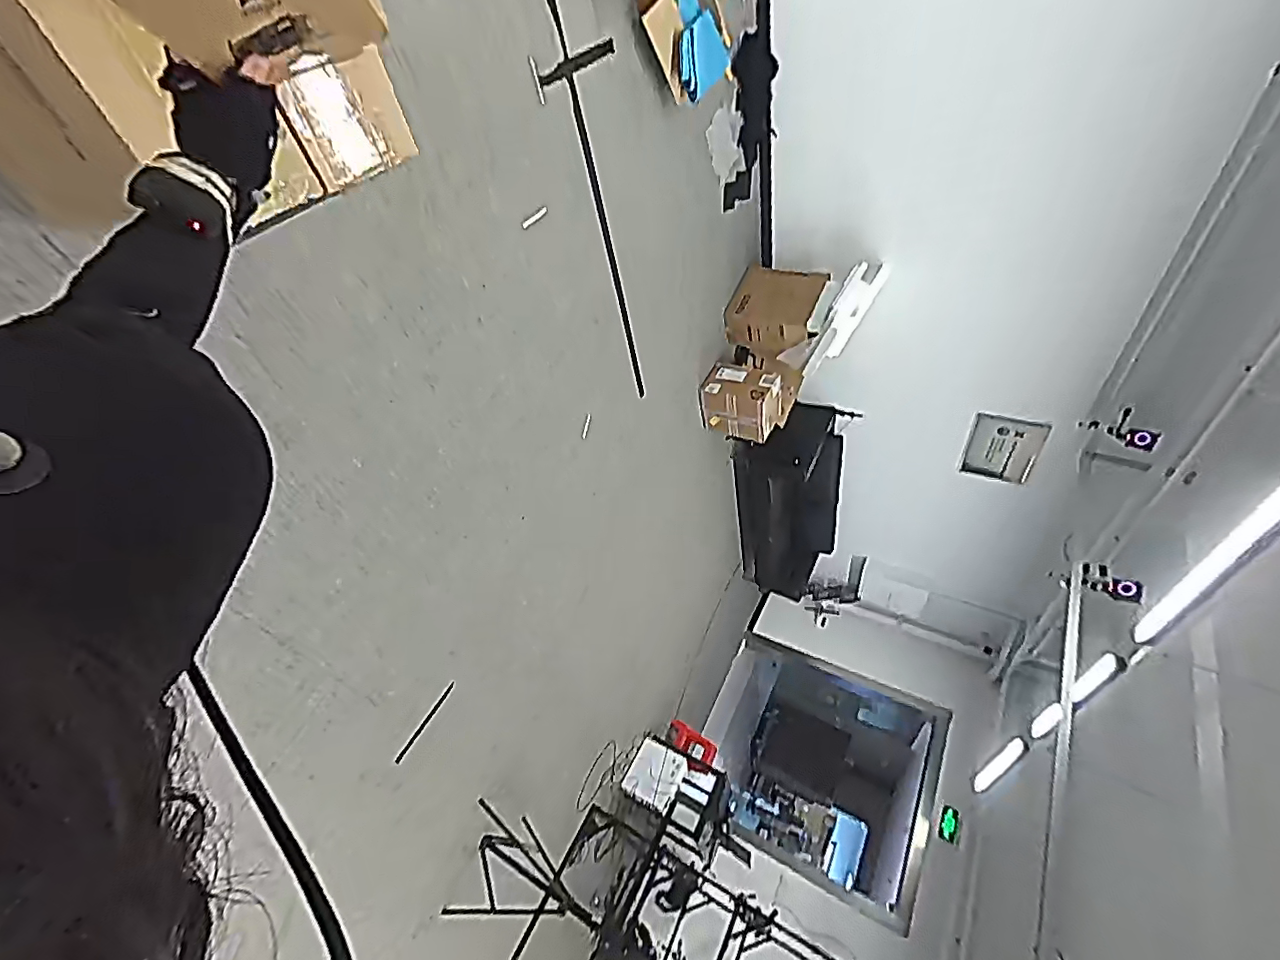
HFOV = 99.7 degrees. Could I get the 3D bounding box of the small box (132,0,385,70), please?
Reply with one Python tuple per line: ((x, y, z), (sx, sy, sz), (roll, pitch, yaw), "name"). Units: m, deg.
((-0.330, -0.464, 0.401), (0.179, 0.168, 0.176), (-106, 177, -80), "small box")
